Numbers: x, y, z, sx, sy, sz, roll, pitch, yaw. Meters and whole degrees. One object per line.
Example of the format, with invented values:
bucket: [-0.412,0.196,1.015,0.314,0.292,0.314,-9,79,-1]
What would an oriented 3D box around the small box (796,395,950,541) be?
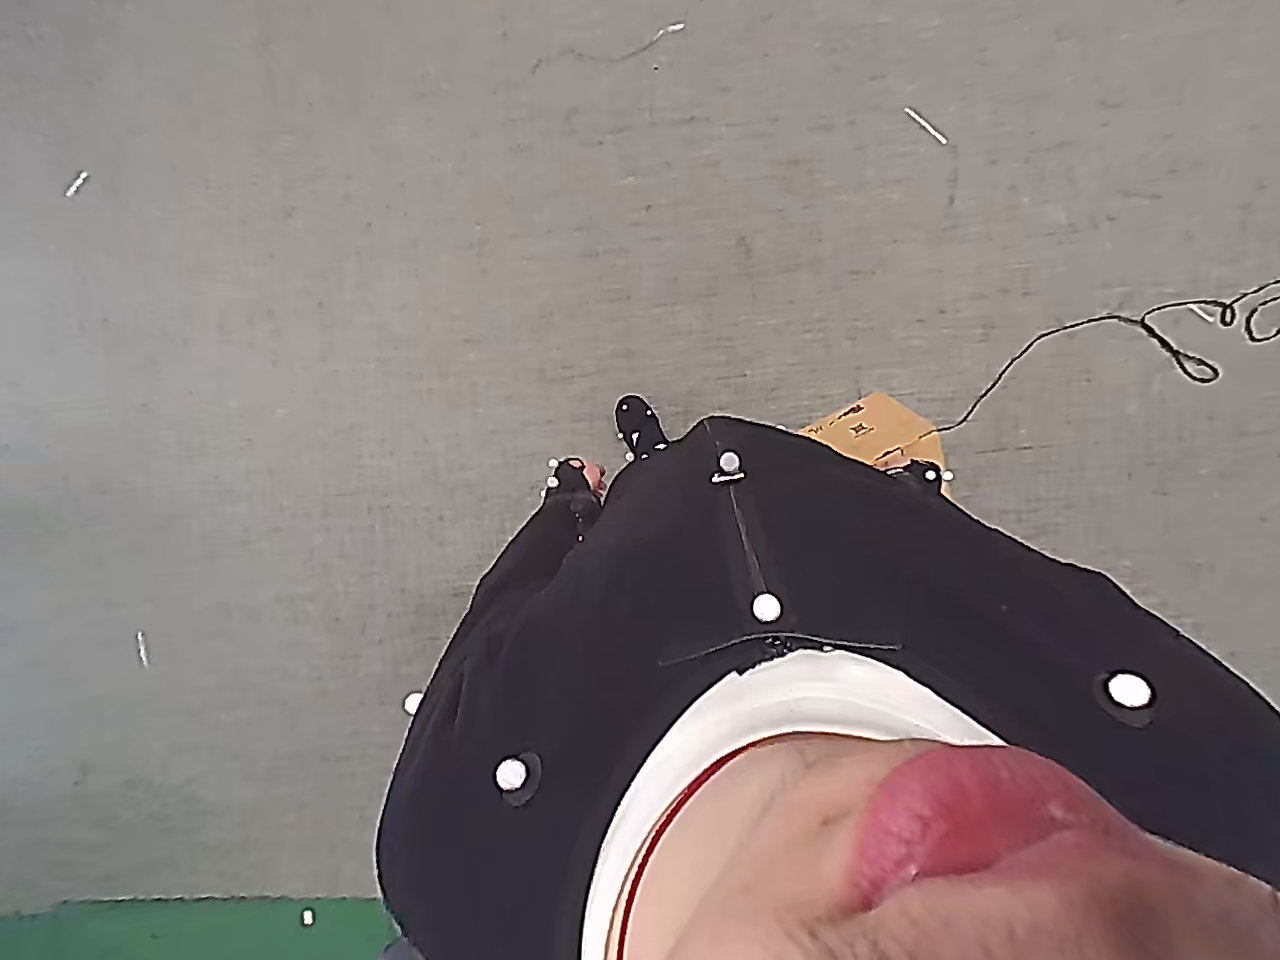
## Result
small box: [0.408,-0.017,0.950,0.168,0.179,0.176,-29,118,5]
